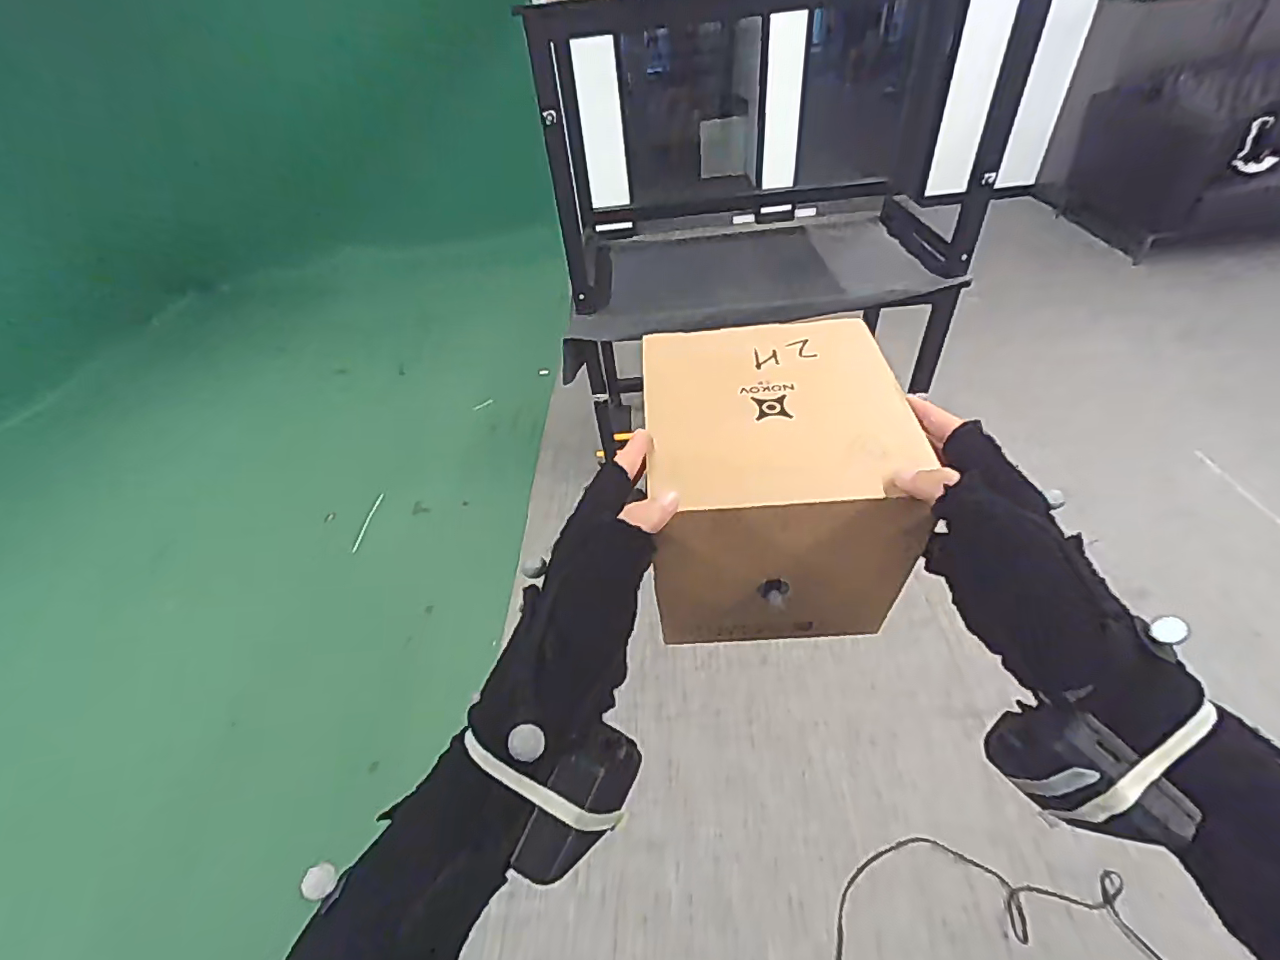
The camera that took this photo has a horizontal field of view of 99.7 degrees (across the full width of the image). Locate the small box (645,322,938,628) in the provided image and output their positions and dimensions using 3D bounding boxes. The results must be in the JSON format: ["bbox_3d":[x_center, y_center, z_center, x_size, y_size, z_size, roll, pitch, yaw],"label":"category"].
[{"bbox_3d":[0.092,0.003,0.417,0.168,0.176,0.179,-3,47,3],"label":"small box"}]
